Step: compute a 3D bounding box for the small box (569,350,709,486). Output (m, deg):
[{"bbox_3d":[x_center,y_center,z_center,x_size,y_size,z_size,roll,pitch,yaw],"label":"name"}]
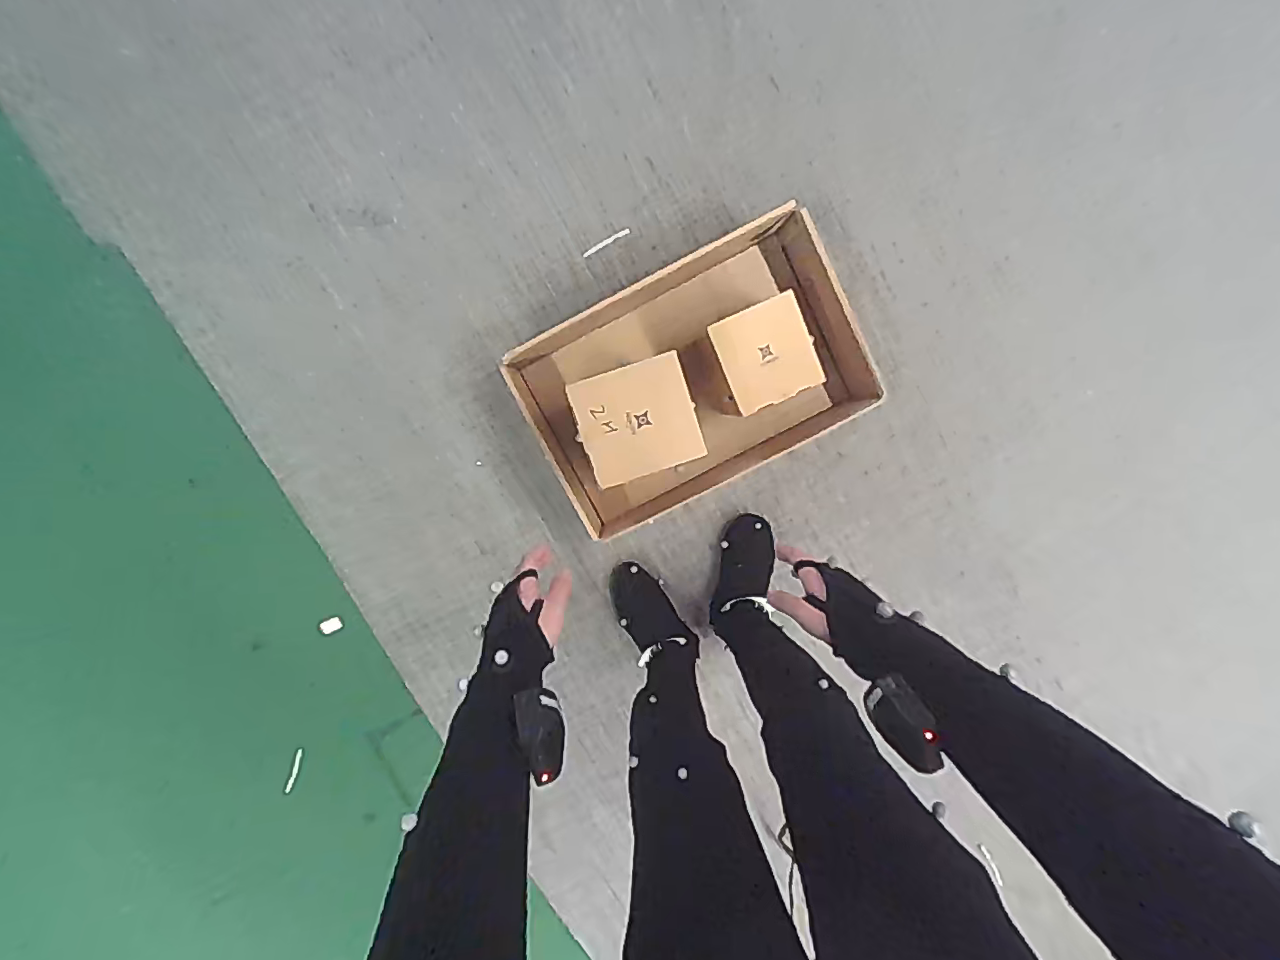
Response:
[{"bbox_3d":[-0.004,-0.102,0.882,0.179,0.176,0.168,-18,97,0],"label":"small box"}]
